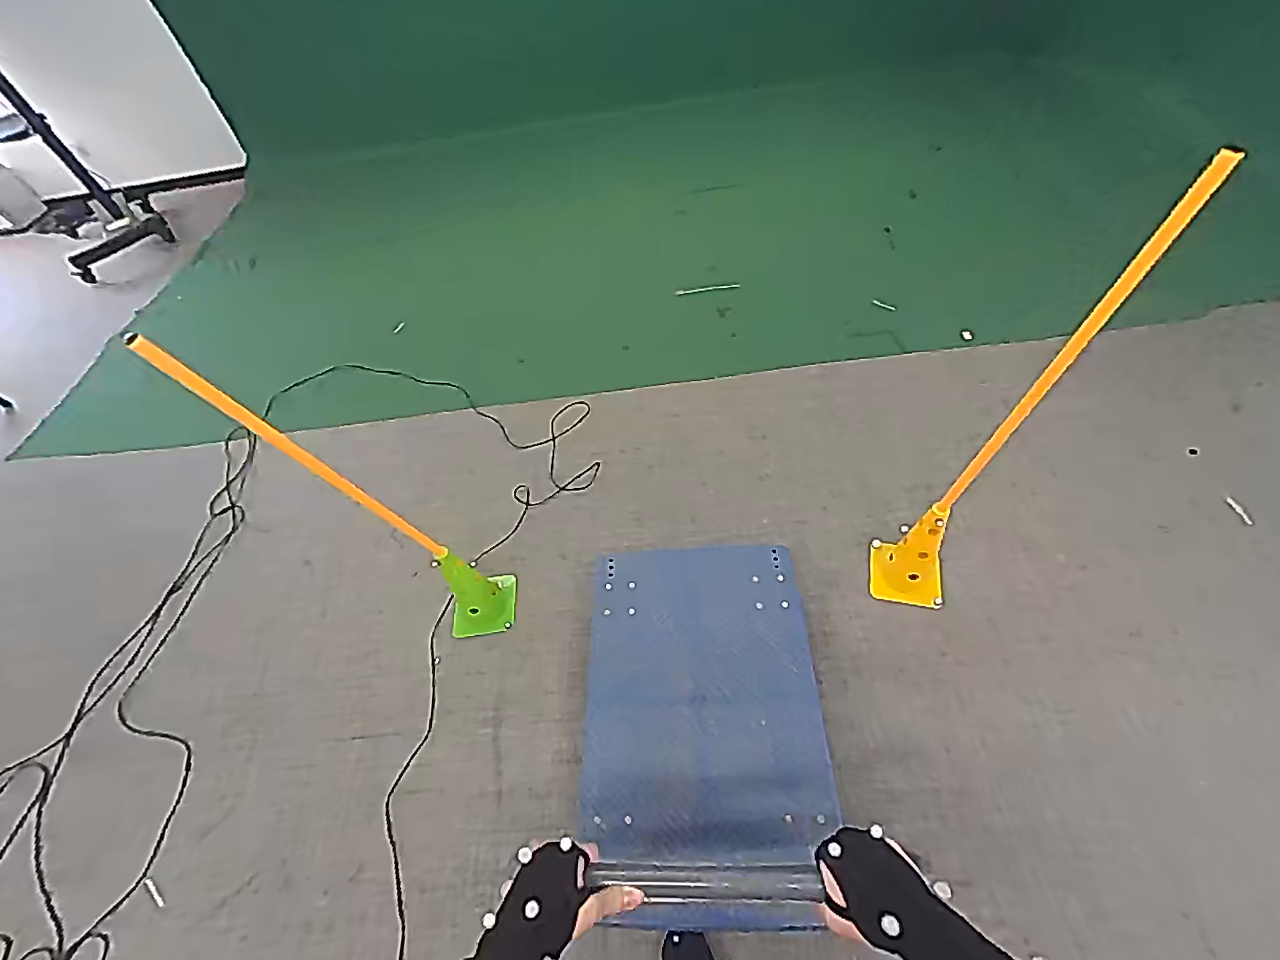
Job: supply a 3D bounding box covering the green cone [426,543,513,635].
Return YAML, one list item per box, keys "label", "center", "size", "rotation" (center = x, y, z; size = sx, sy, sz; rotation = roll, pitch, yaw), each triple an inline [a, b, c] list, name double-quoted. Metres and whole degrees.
- label: "green cone"
  center: [-0.537, 0.292, 1.624]
  size: [0.202, 0.368, 0.200]
  rotation: [-10, 52, 3]
